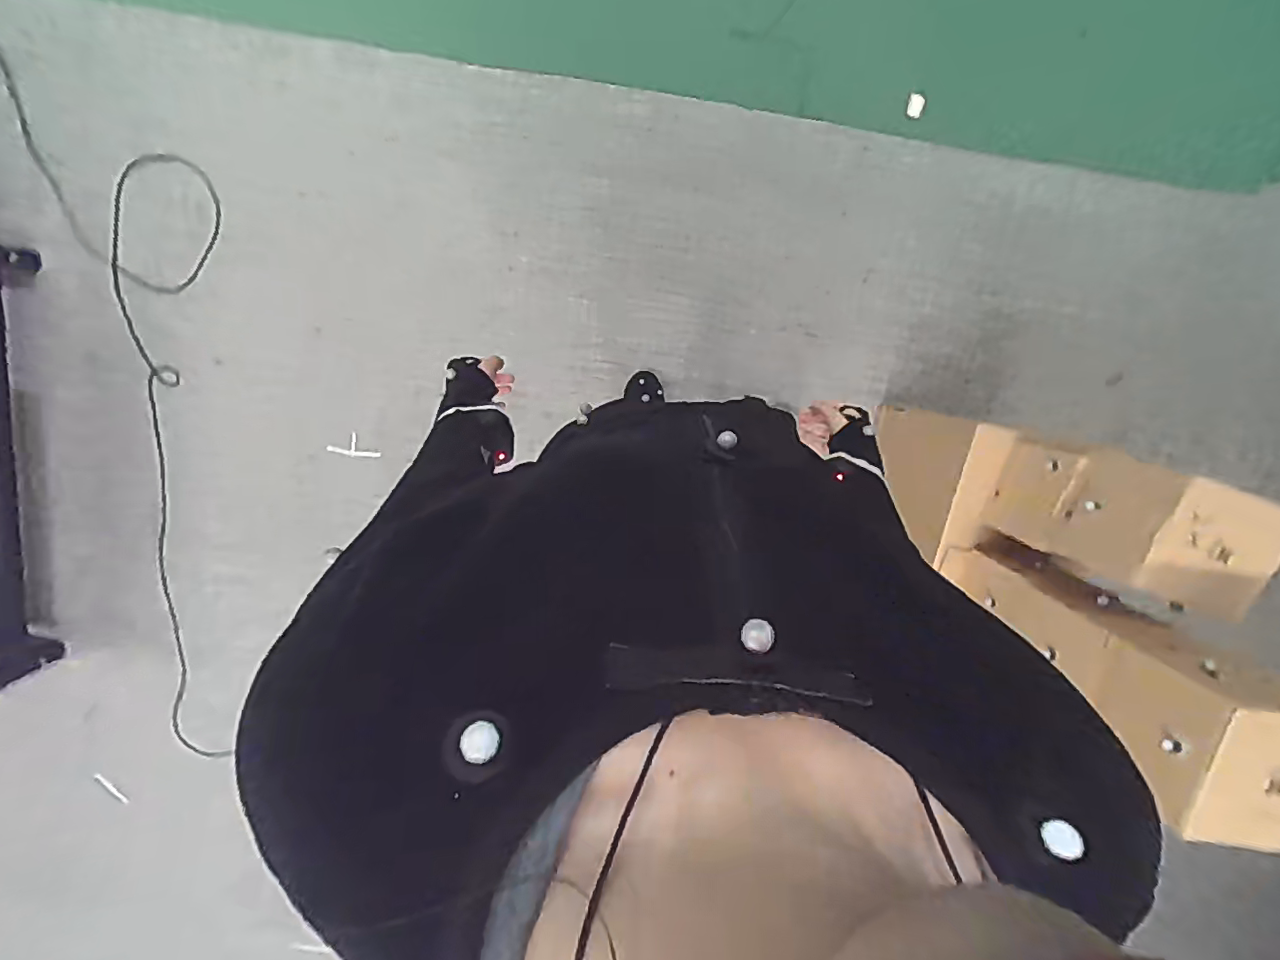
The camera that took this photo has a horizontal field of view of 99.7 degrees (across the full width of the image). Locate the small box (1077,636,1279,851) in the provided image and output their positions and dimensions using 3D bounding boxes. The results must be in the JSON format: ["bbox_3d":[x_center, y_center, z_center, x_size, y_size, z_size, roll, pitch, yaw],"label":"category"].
[{"bbox_3d":[0.711,0.321,0.683,0.168,0.176,0.179,9,103,-1],"label":"small box"}]
